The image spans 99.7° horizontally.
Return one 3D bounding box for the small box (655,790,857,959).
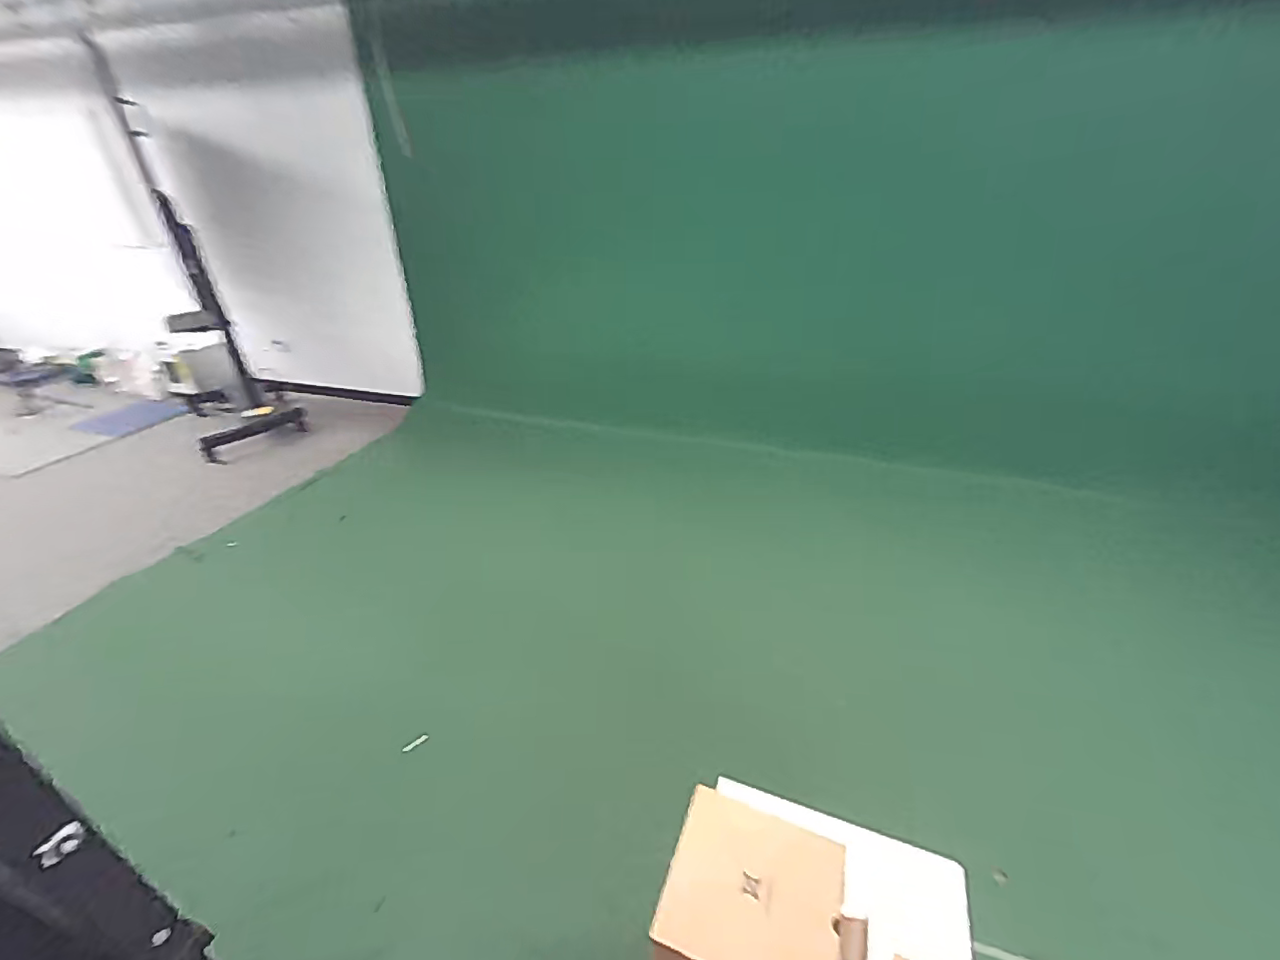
[{"bbox_3d":[0.122,0.487,0.584,0.179,0.176,0.168,12,32,19],"label":"small box"}]
